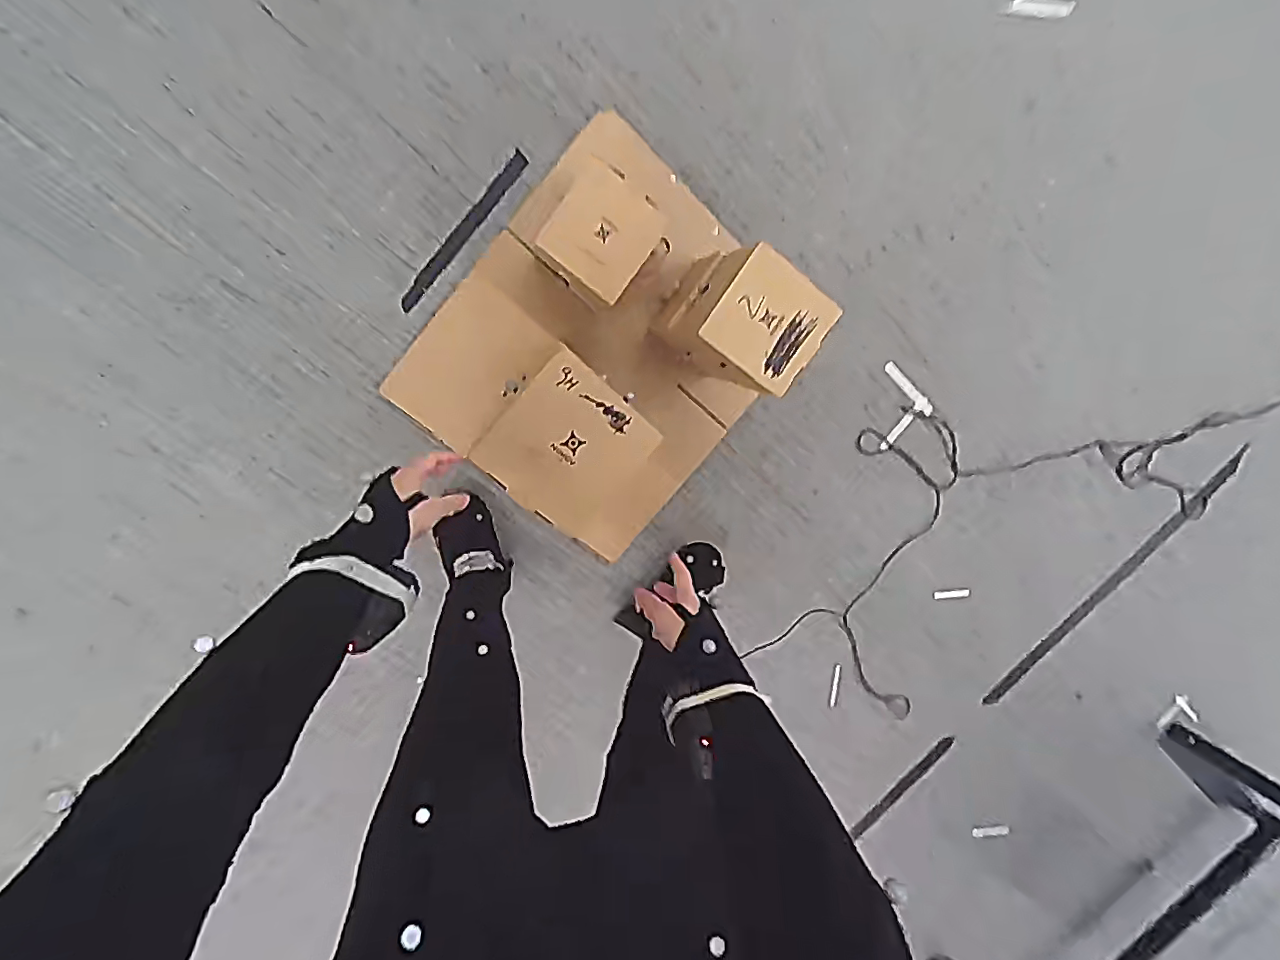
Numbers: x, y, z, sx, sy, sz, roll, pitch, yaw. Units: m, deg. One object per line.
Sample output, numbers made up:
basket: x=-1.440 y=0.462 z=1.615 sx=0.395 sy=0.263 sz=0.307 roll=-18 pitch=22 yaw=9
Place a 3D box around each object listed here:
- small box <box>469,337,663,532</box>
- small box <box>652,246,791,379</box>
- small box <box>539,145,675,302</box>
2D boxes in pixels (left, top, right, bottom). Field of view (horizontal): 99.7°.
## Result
small box: x=-0.097 y=-0.069 z=0.716 sx=0.168 sy=0.176 sz=0.179 roll=41 pitch=96 yaw=-19
small box: x=0.148 y=-0.319 z=1.041 sx=0.179 sy=0.176 sz=0.168 roll=35 pitch=96 yaw=-18
small box: x=-0.068 y=-0.441 z=0.964 sx=0.168 sy=0.176 sz=0.179 roll=34 pitch=97 yaw=-16
